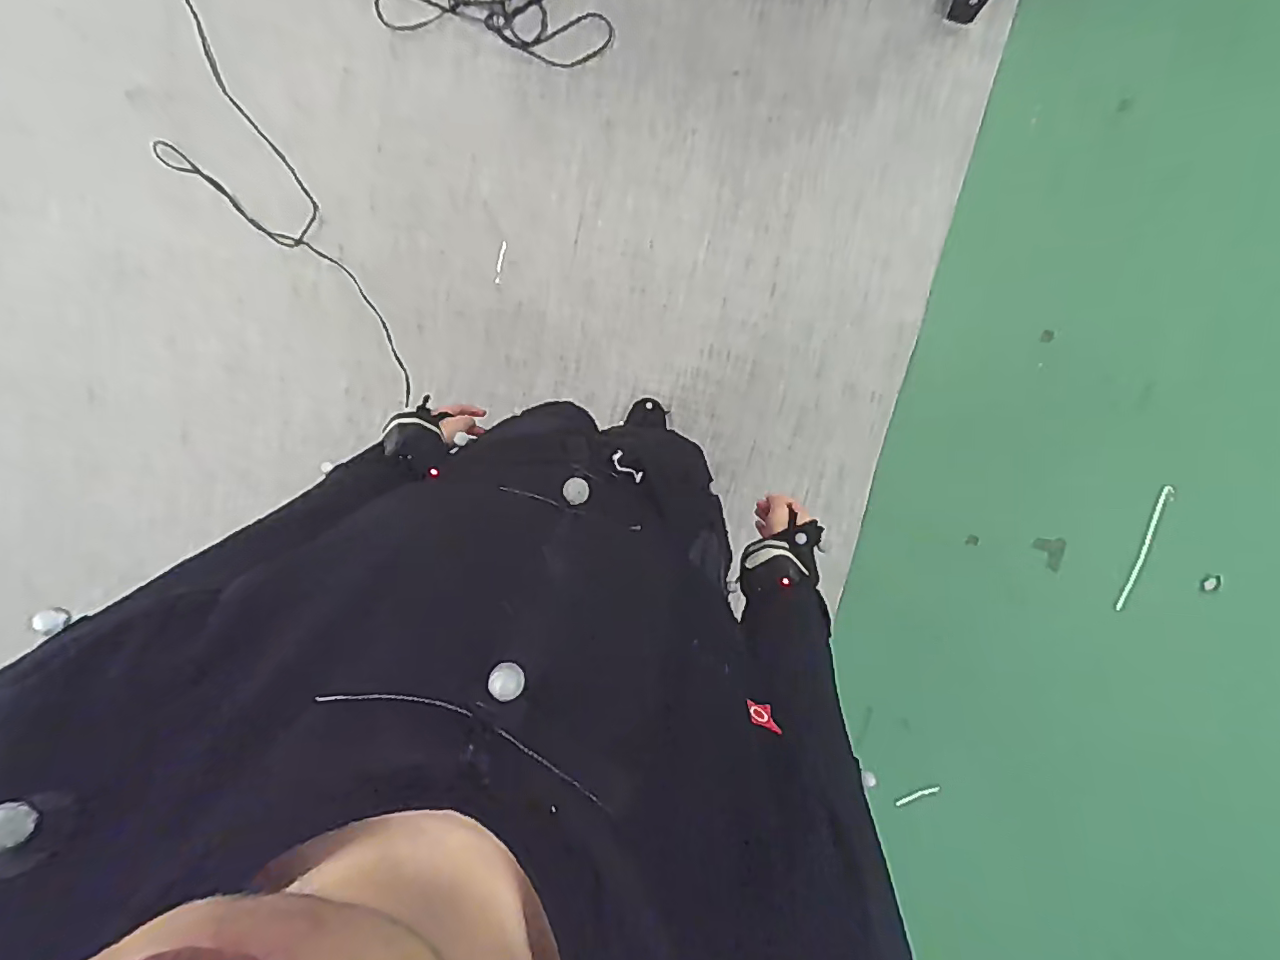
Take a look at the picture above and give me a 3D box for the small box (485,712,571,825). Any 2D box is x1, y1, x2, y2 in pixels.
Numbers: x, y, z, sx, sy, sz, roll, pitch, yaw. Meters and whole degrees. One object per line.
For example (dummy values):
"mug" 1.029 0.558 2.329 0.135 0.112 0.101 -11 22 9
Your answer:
"small box" -0.281 0.733 1.389 0.168 0.176 0.179 11 98 1
